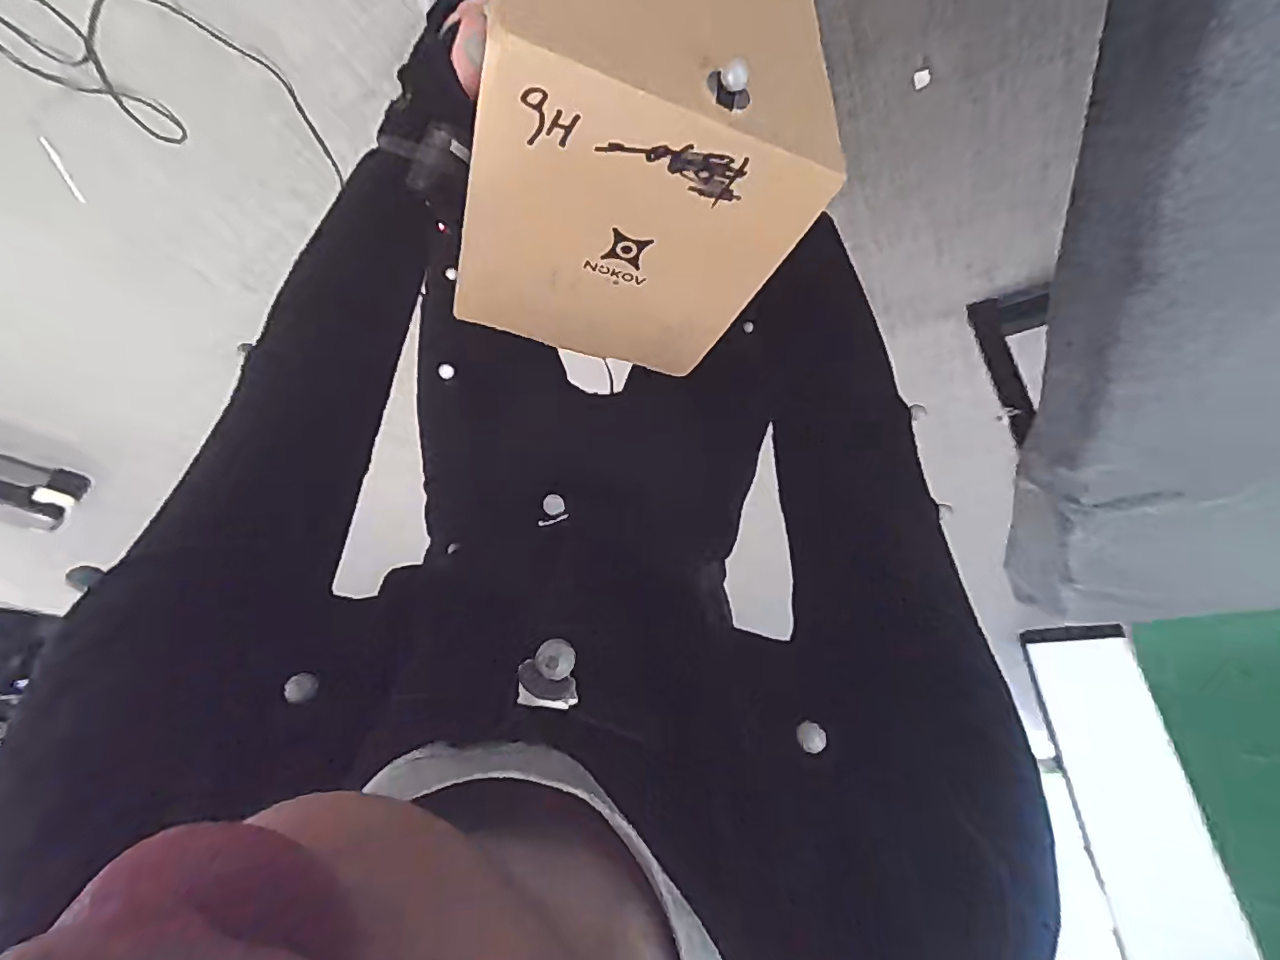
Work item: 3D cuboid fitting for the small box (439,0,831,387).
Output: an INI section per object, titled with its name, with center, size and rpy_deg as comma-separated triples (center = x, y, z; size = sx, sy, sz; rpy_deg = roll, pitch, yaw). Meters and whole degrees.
[small box]
center = -0.016, -0.184, 0.316
size = 0.168, 0.176, 0.179
rpy_deg = 9, 156, -19
